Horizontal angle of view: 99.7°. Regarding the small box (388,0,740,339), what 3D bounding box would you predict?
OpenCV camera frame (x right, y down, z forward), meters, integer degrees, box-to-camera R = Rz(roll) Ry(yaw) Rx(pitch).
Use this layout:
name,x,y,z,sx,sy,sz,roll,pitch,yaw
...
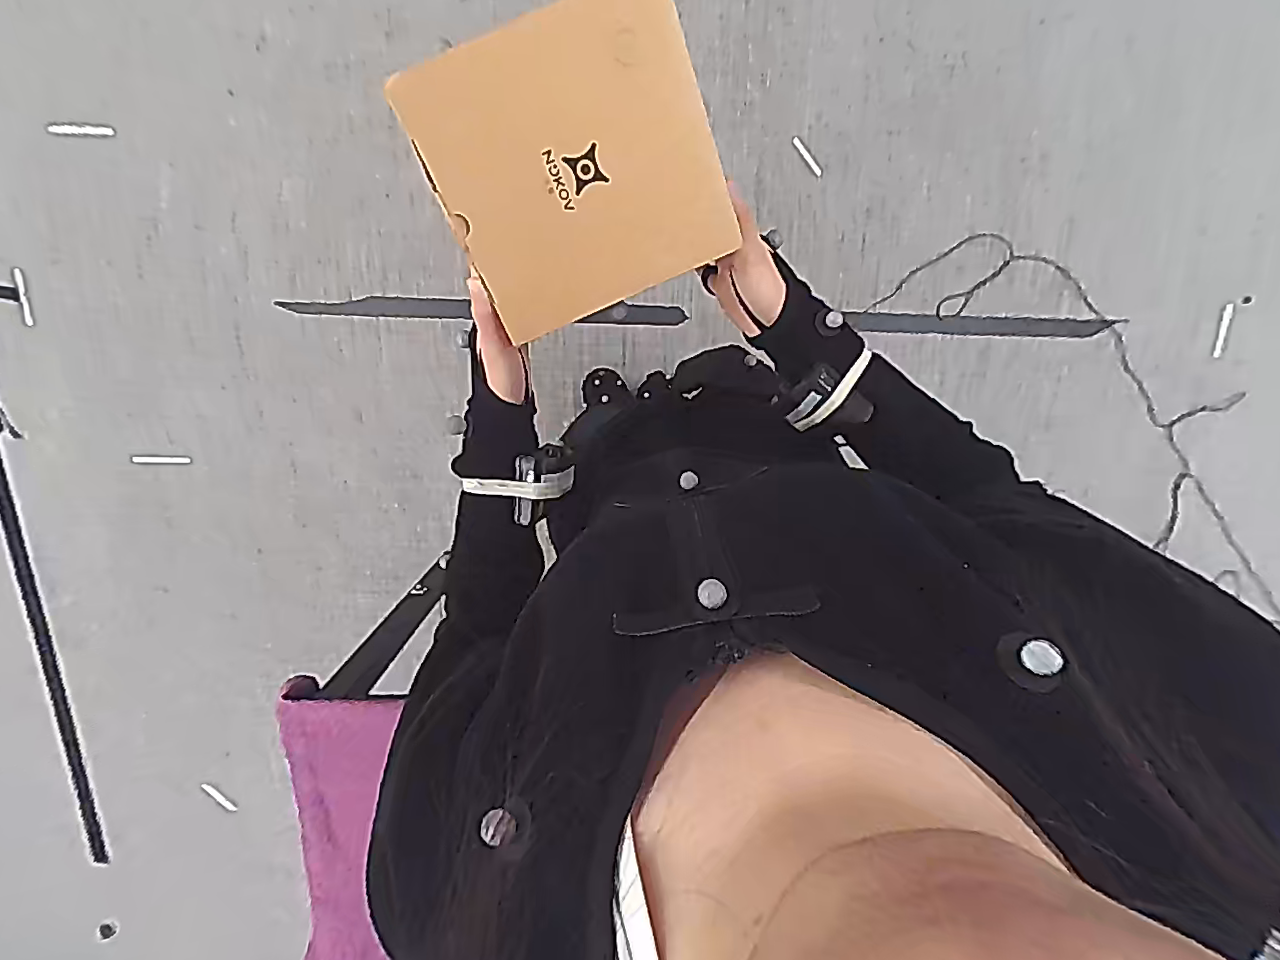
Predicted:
name,x,y,z,sx,sy,sz,roll,pitch,yaw
small box,-0.048,-0.230,0.410,0.179,0.176,0.168,-22,116,4

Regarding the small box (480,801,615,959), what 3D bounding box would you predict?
name,x,y,z,sx,sy,sz,roll,pitch,yaw
small box,-0.128,0.617,0.816,0.179,0.176,0.168,-1,104,-1
